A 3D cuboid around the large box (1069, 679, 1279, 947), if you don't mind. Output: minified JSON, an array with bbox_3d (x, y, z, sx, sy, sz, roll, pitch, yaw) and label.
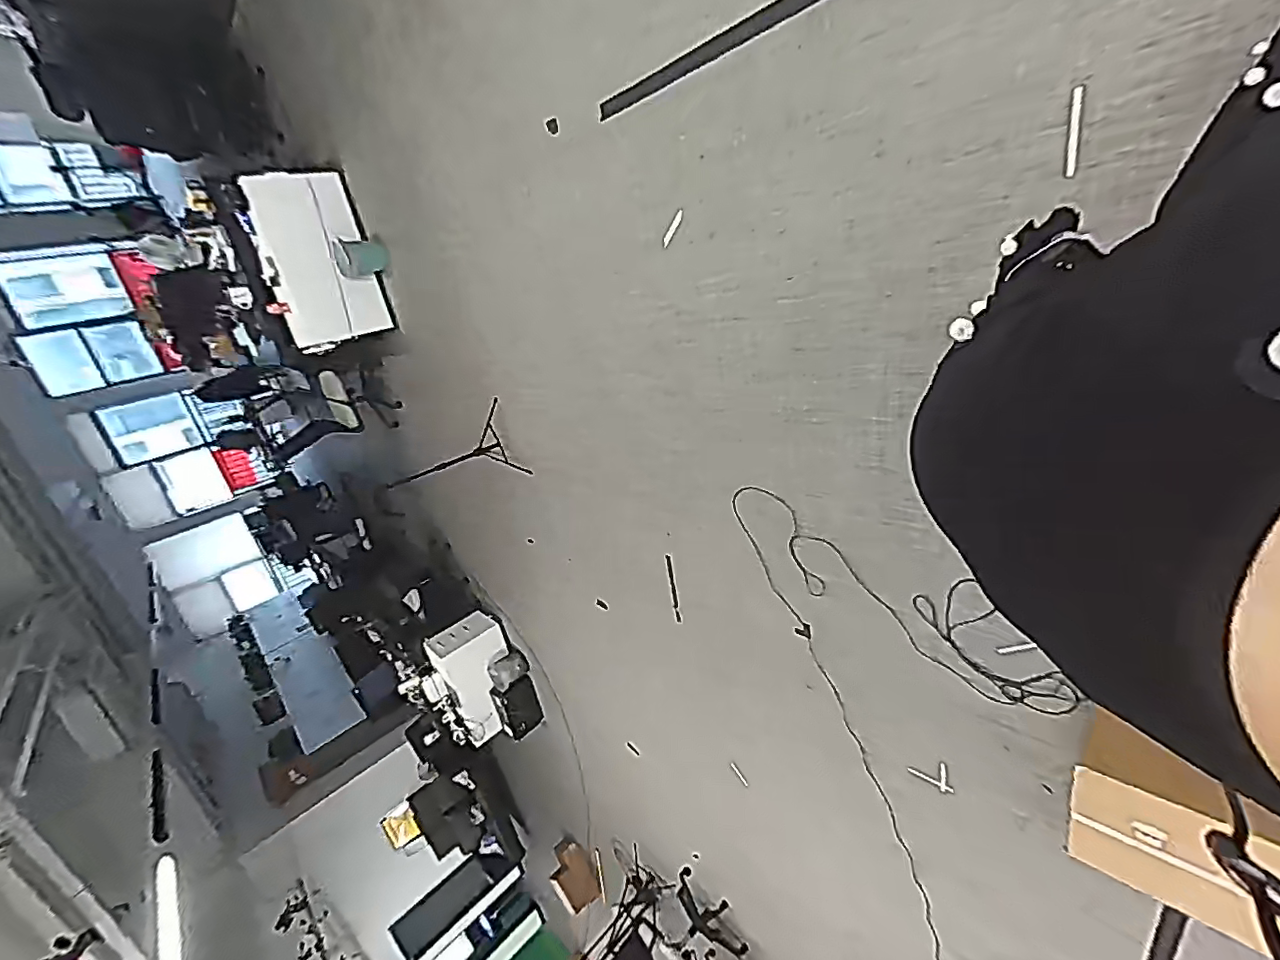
[{"bbox_3d":[1.274,0.732,1.230,0.408,0.320,0.320,11,121,47],"label":"large box"}]
